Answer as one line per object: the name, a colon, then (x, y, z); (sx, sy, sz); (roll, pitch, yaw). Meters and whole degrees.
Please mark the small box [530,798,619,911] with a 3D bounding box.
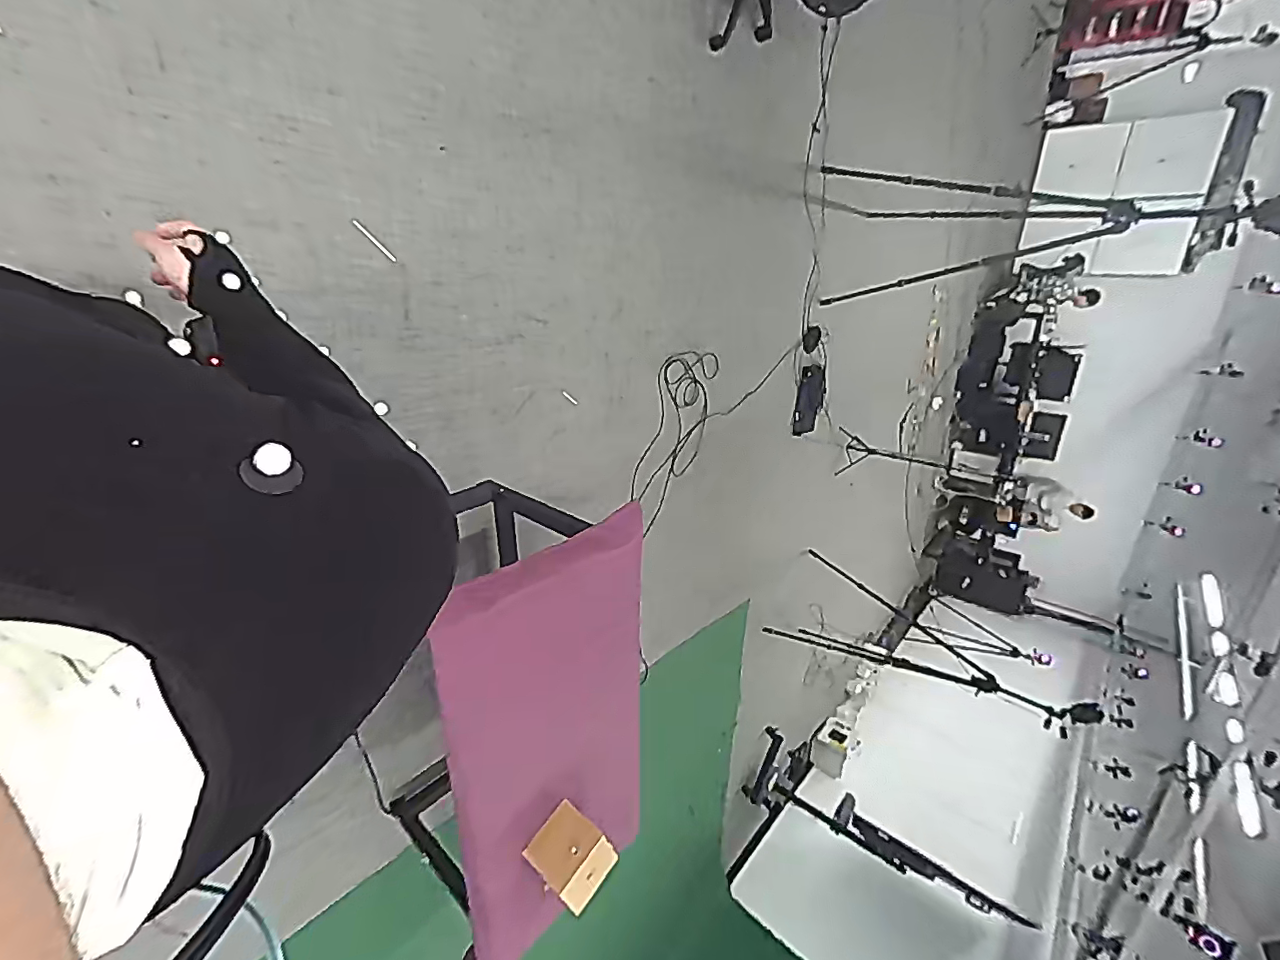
small box: (-0.193, 1.067, 1.549); (0.179, 0.176, 0.168); (-43, 133, -32)
